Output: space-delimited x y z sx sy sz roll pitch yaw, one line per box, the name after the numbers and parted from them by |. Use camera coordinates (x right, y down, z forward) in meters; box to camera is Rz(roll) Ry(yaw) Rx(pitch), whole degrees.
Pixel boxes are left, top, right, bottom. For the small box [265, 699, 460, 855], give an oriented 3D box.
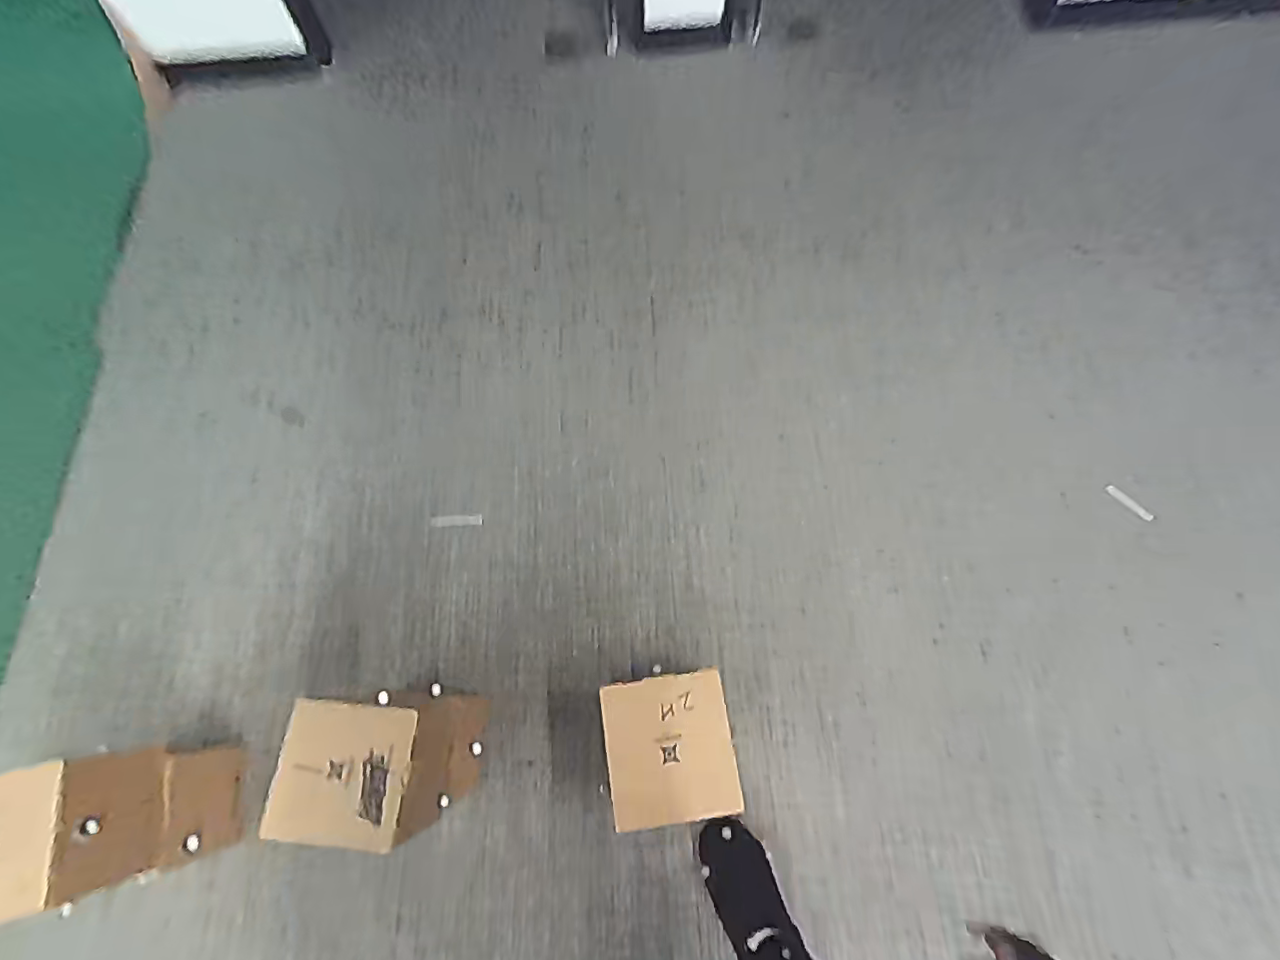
-0.381 0.414 0.781 0.179 0.176 0.168 3 69 4 | small box

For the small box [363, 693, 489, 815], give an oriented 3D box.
-0.376 0.464 0.938 0.179 0.176 0.168 3 69 2 | small box

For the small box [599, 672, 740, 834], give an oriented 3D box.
0.038 0.380 0.782 0.168 0.176 0.179 -8 69 -2 | small box

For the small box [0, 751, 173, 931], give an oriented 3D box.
-0.810 0.502 0.762 0.168 0.176 0.179 -13 69 -4 | small box
